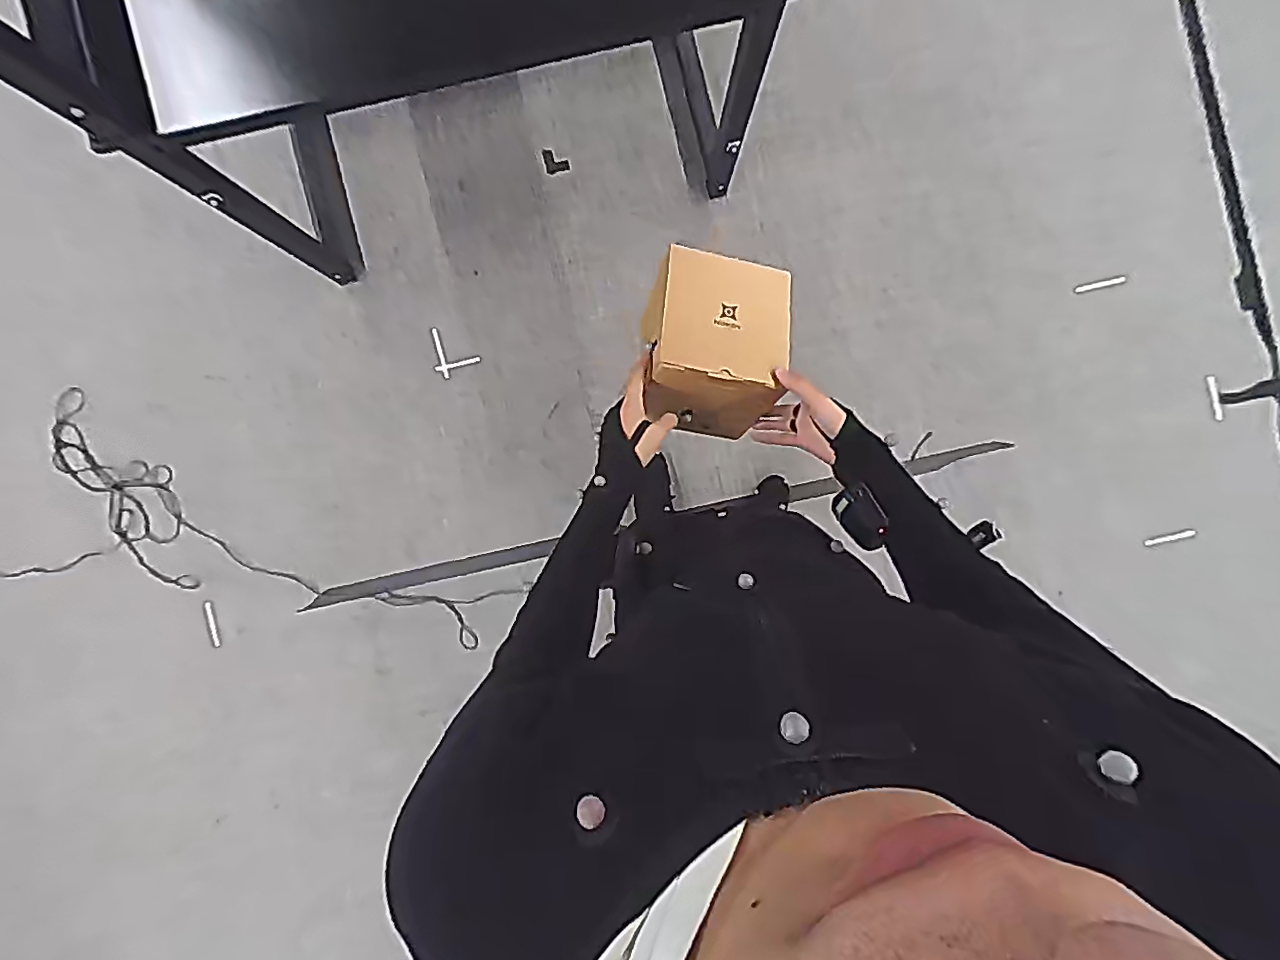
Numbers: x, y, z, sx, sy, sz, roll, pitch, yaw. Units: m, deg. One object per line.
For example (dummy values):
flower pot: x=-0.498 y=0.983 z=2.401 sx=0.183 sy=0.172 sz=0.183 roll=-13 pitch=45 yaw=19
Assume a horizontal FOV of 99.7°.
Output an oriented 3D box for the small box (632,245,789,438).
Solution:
small box: x=0.089 y=-0.178 z=0.740 sx=0.168 sy=0.176 sz=0.179 roll=9 pitch=71 yaw=-10
